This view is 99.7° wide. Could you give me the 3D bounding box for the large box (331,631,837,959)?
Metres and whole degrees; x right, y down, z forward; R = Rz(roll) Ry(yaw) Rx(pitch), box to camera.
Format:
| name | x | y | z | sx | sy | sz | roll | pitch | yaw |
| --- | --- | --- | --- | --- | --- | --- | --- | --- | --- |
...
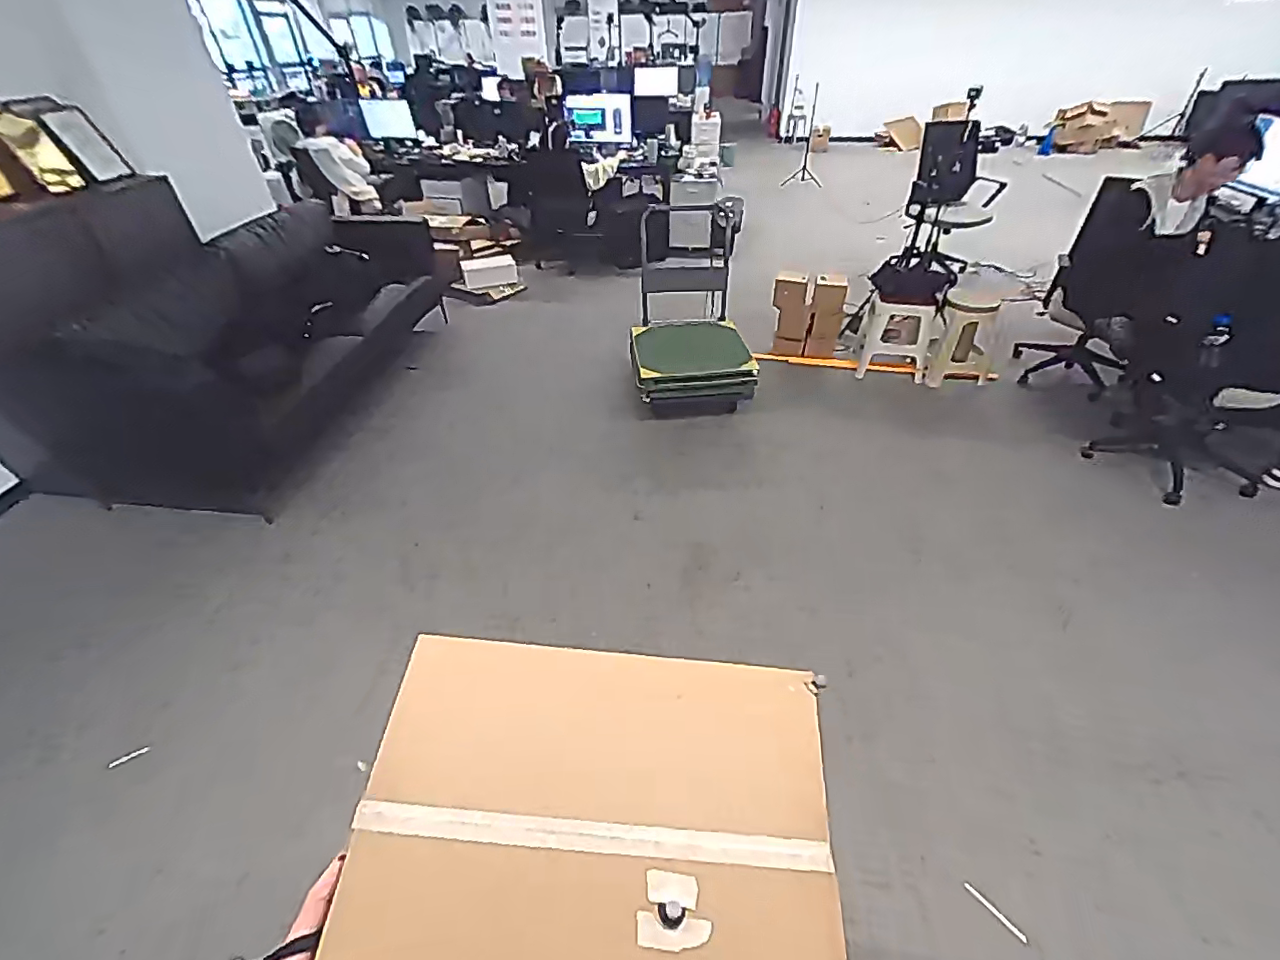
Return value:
| name | x | y | z | sx | sy | sz | roll | pitch | yaw |
| --- | --- | --- | --- | --- | --- | --- | --- | --- | --- |
| large box | -0.044 | 0.383 | 0.599 | 0.408 | 0.320 | 0.320 | 5 | 55 | 0 |
